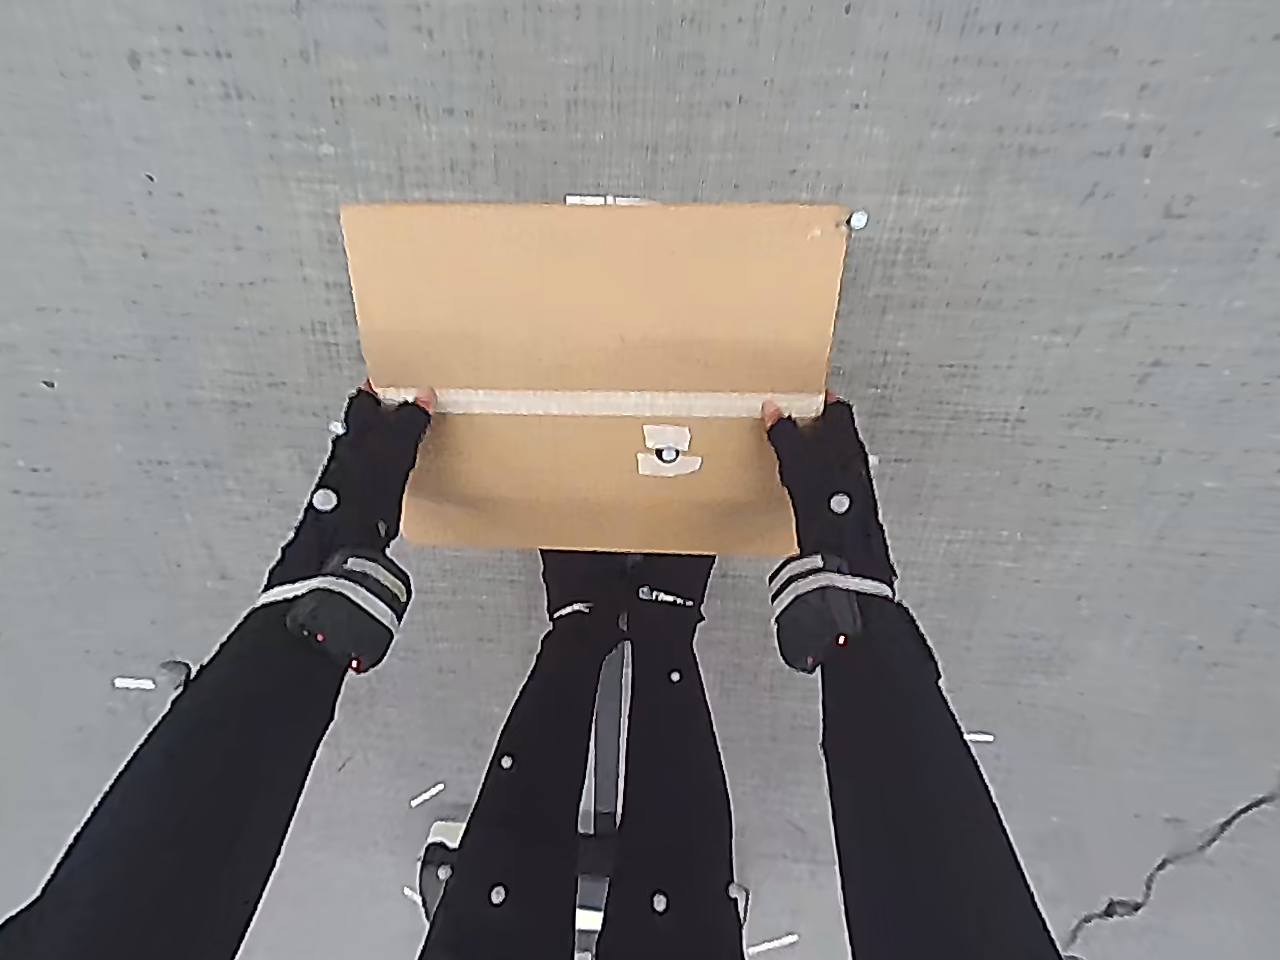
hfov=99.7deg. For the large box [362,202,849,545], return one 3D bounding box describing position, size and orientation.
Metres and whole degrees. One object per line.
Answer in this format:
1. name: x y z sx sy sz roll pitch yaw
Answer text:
1. large box: -0.026 -0.134 0.627 0.408 0.320 0.320 1 114 2
